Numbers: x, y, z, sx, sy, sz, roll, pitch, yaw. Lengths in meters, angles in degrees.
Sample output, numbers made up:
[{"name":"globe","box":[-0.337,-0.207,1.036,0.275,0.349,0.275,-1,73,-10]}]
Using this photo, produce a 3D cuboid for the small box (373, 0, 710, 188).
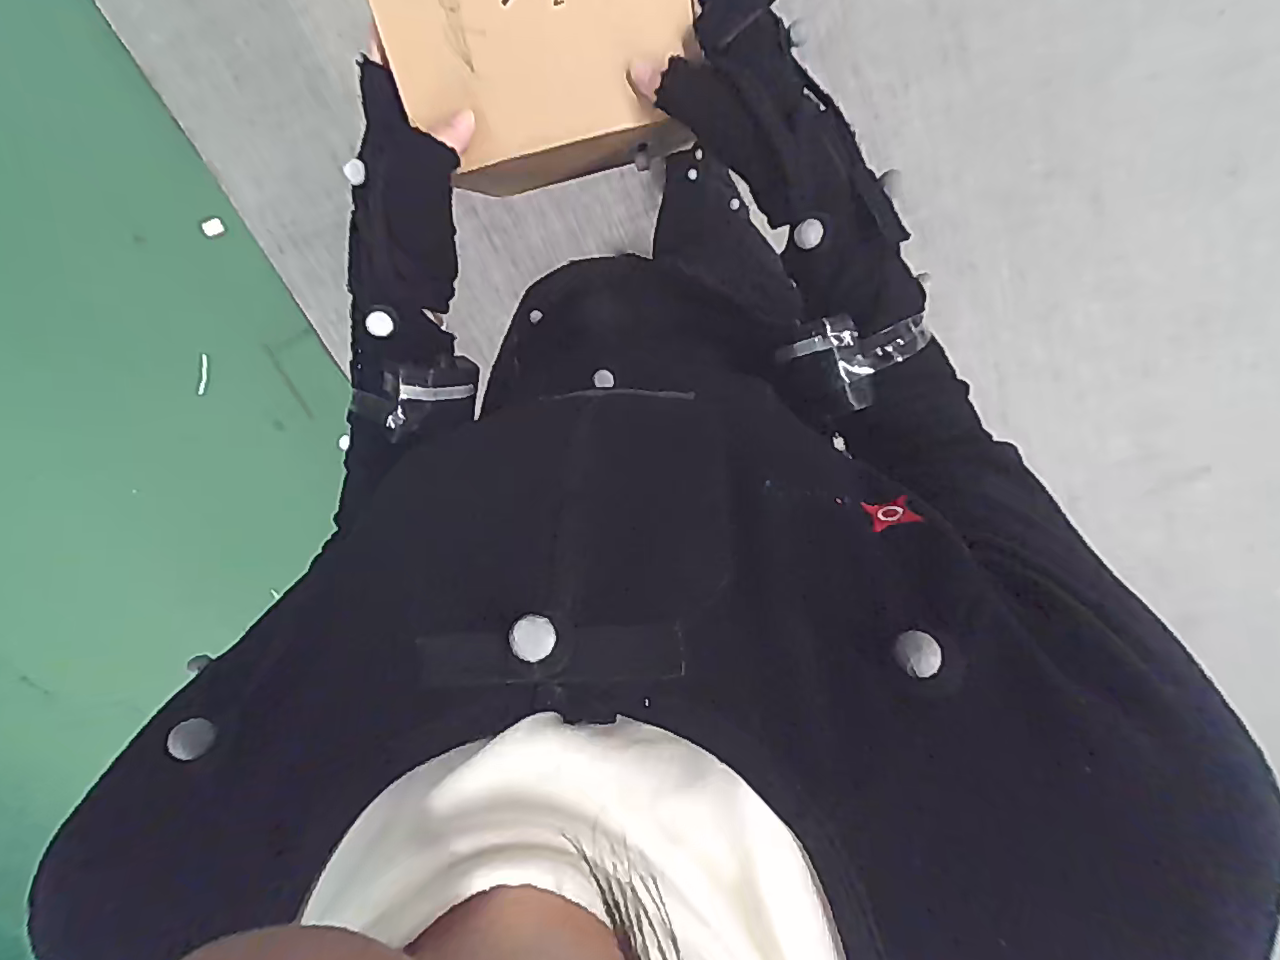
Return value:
[{"name":"small box","box":[-0.059,-0.311,0.362,0.179,0.176,0.168,-12,112,9]}]
